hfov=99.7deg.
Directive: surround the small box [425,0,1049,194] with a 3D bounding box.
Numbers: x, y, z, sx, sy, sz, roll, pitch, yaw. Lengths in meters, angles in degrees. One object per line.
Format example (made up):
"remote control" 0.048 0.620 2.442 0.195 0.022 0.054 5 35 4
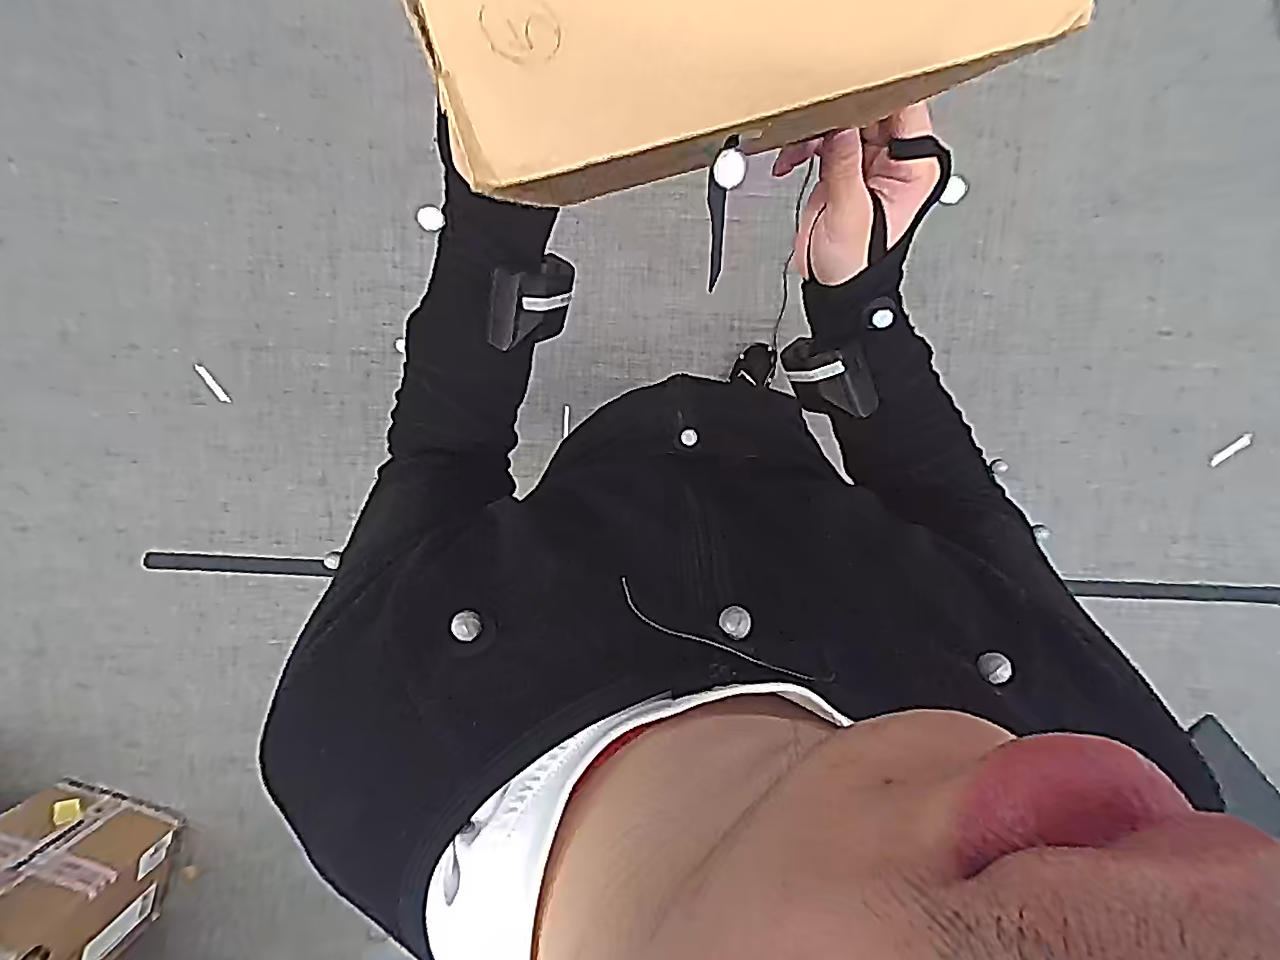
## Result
"small box" 0.017 -0.218 0.204 0.179 0.176 0.168 -12 116 7
